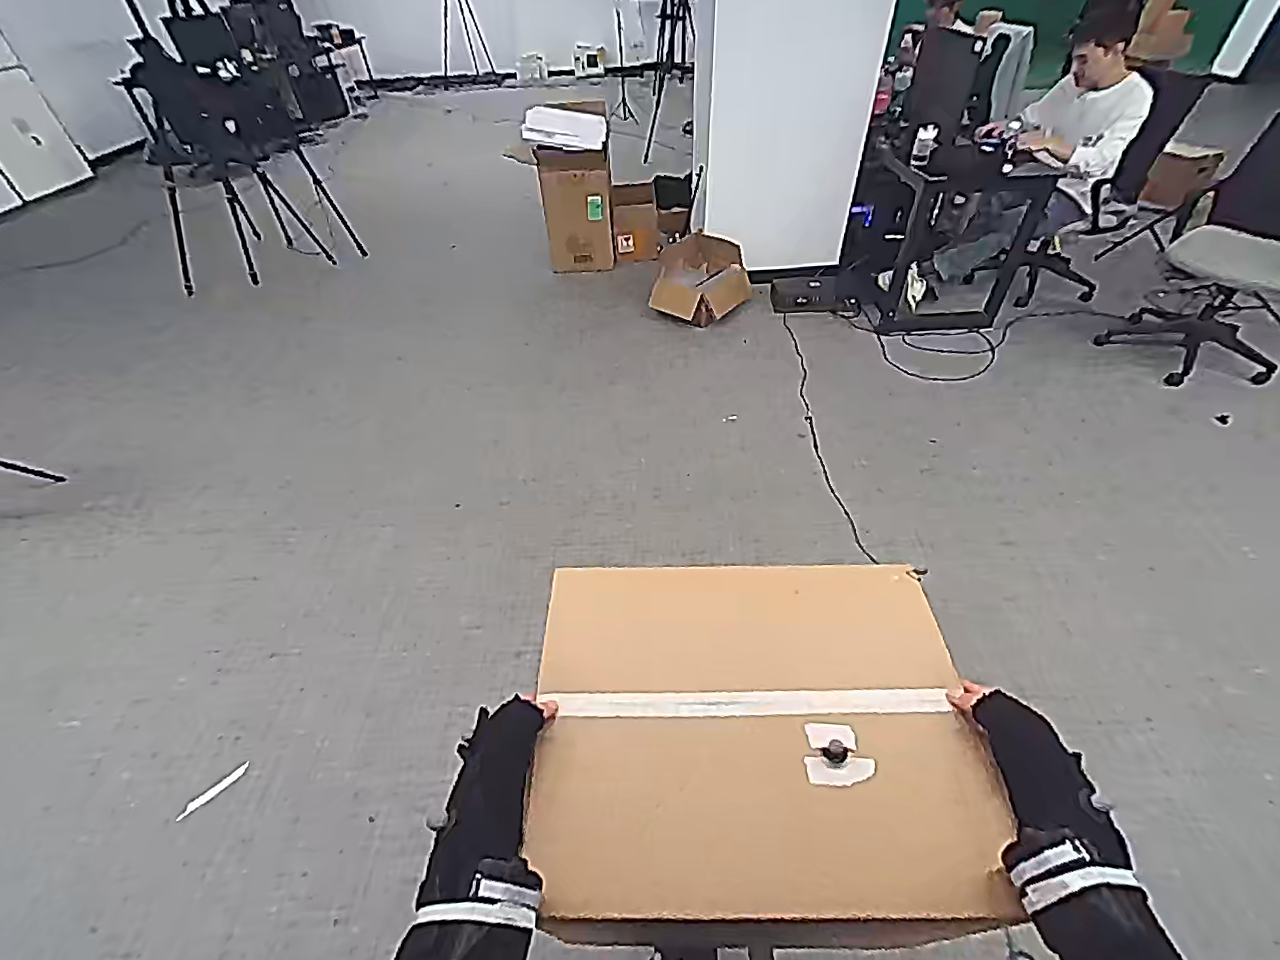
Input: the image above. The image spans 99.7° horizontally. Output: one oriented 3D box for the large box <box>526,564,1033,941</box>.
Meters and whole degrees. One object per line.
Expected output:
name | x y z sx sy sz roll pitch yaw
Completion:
large box | 0.108 0.314 0.625 0.408 0.320 0.320 -1 46 1
